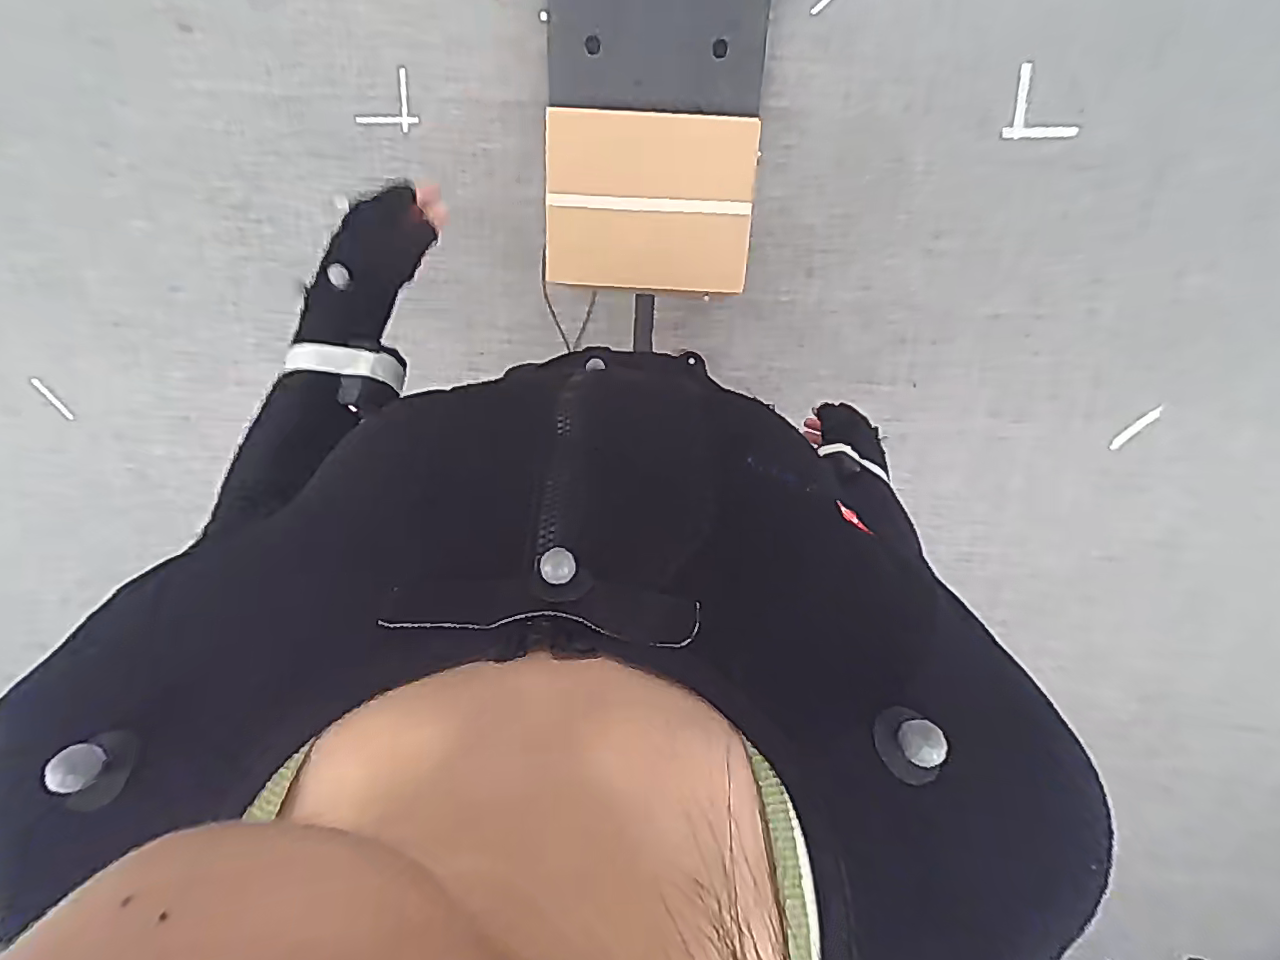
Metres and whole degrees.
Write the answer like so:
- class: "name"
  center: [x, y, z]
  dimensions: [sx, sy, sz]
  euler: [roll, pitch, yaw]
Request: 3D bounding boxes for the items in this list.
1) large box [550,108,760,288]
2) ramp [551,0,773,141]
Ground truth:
- class: "large box"
  center: [0.029, -0.596, 1.203]
  dimensions: [0.408, 0.320, 0.320]
  euler: [3, 107, 1]
- class: "ramp"
  center: [0.053, -1.181, 1.129]
  dimensions: [0.509, 0.206, 0.991]
  euler: [1, 104, 0]
